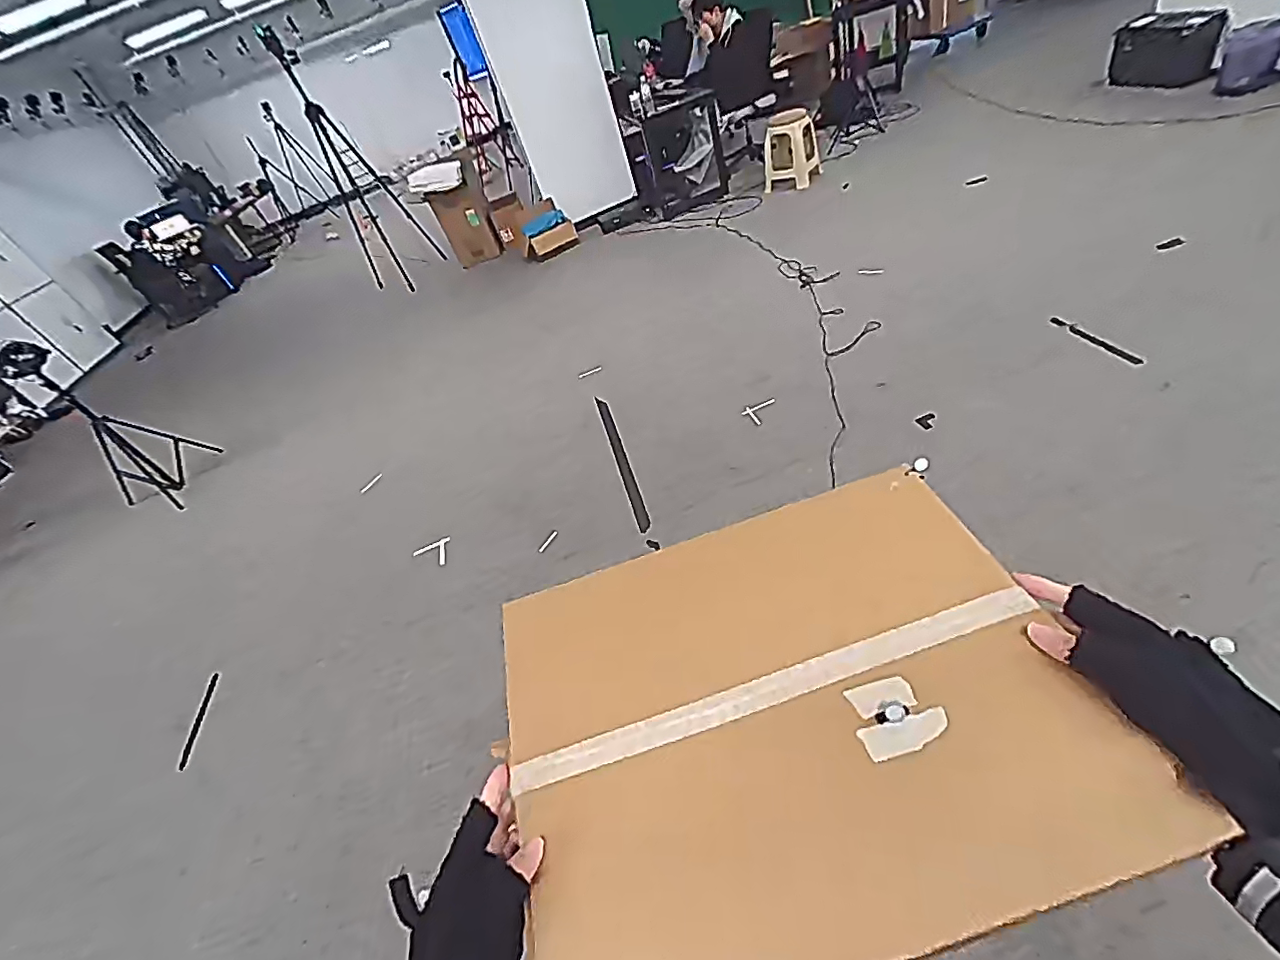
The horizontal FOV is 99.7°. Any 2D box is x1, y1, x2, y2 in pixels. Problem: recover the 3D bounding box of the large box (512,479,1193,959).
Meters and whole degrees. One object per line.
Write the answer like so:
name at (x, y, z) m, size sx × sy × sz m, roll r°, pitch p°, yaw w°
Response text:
large box at (0.132, 0.264, 0.518) m, size 0.408 × 0.320 × 0.320 m, roll -19°, pitch 46°, yaw -1°
